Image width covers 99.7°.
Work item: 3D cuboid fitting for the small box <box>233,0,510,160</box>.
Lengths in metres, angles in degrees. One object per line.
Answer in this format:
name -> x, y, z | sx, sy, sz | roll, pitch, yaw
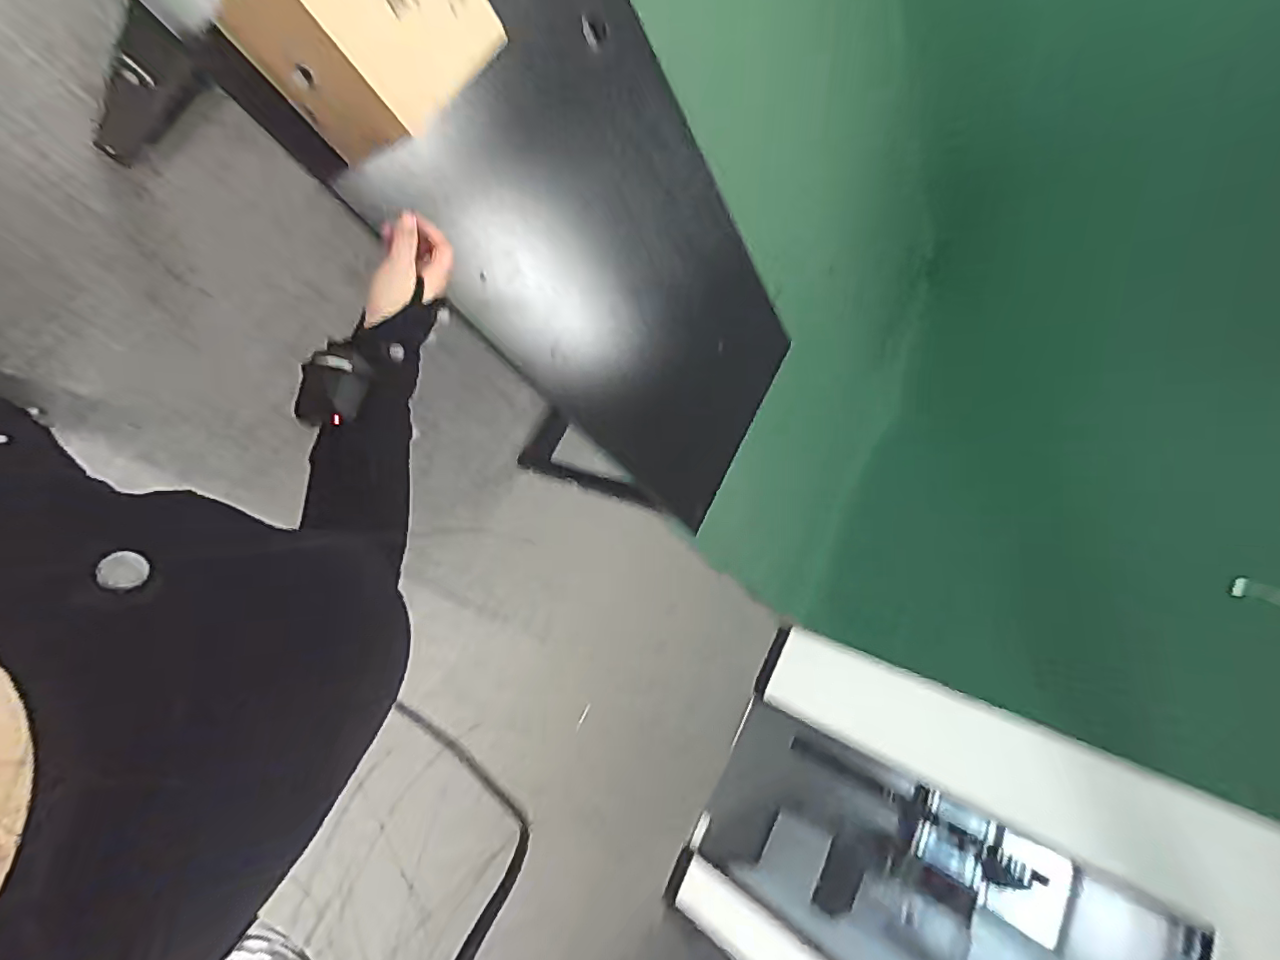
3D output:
small box -> -0.278, -0.468, 0.560 | 0.179, 0.176, 0.168 | -60, 138, -16
